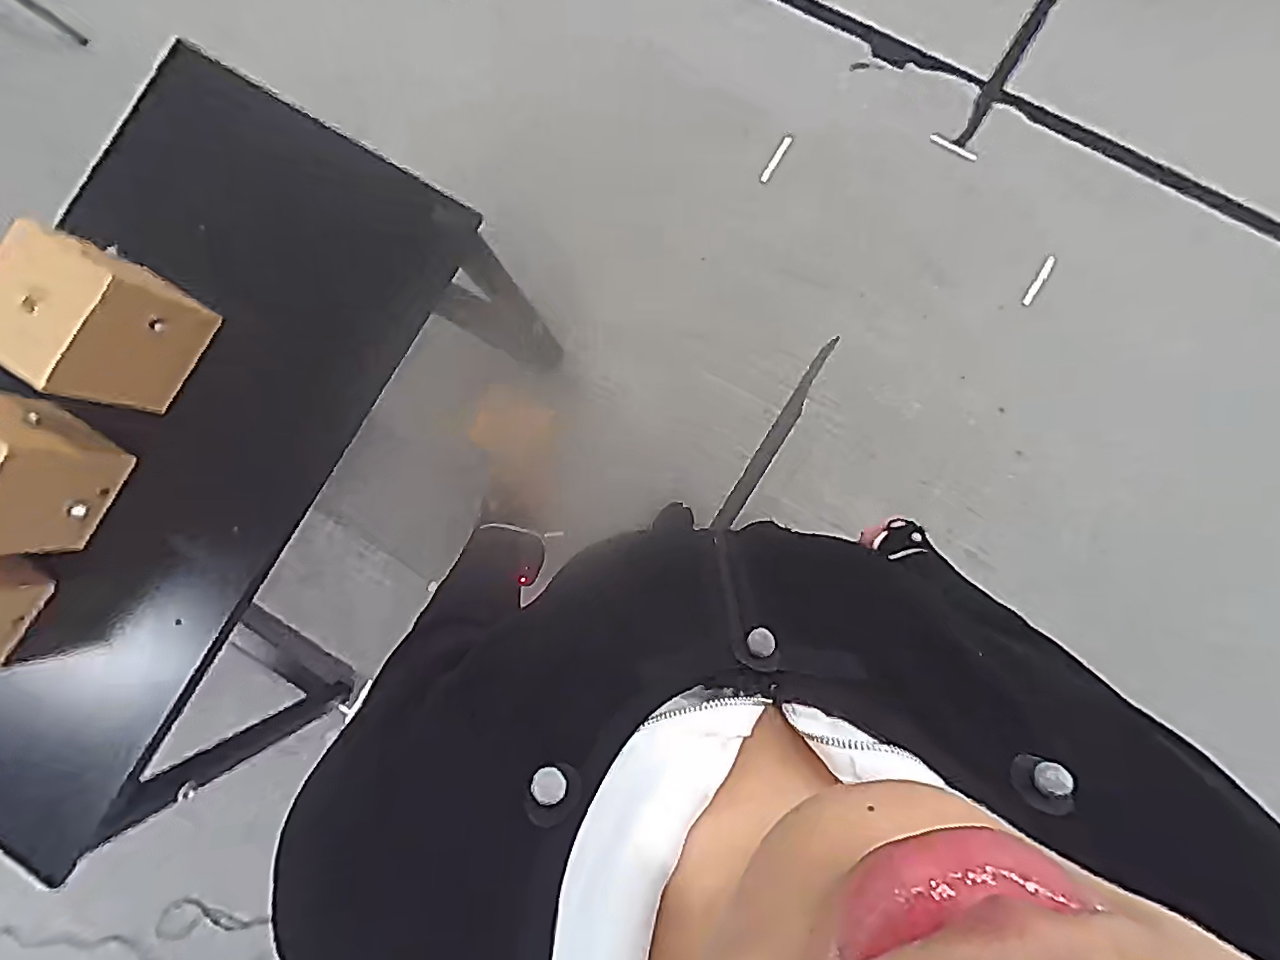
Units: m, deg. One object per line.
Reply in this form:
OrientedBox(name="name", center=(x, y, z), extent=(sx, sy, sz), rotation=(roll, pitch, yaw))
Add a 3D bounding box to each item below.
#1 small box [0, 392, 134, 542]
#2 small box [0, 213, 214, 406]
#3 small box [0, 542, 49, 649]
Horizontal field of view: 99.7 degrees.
OrientedBox(name="small box", center=(-0.899, -0.018, 0.766), extent=(0.179, 0.176, 0.168), rotation=(31, 89, 4))
OrientedBox(name="small box", center=(-0.768, -0.229, 0.773), extent=(0.168, 0.176, 0.179), rotation=(32, 90, 6))
OrientedBox(name="small box", center=(-1.022, 0.170, 0.762), extent=(0.179, 0.176, 0.168), rotation=(35, 89, 5))
